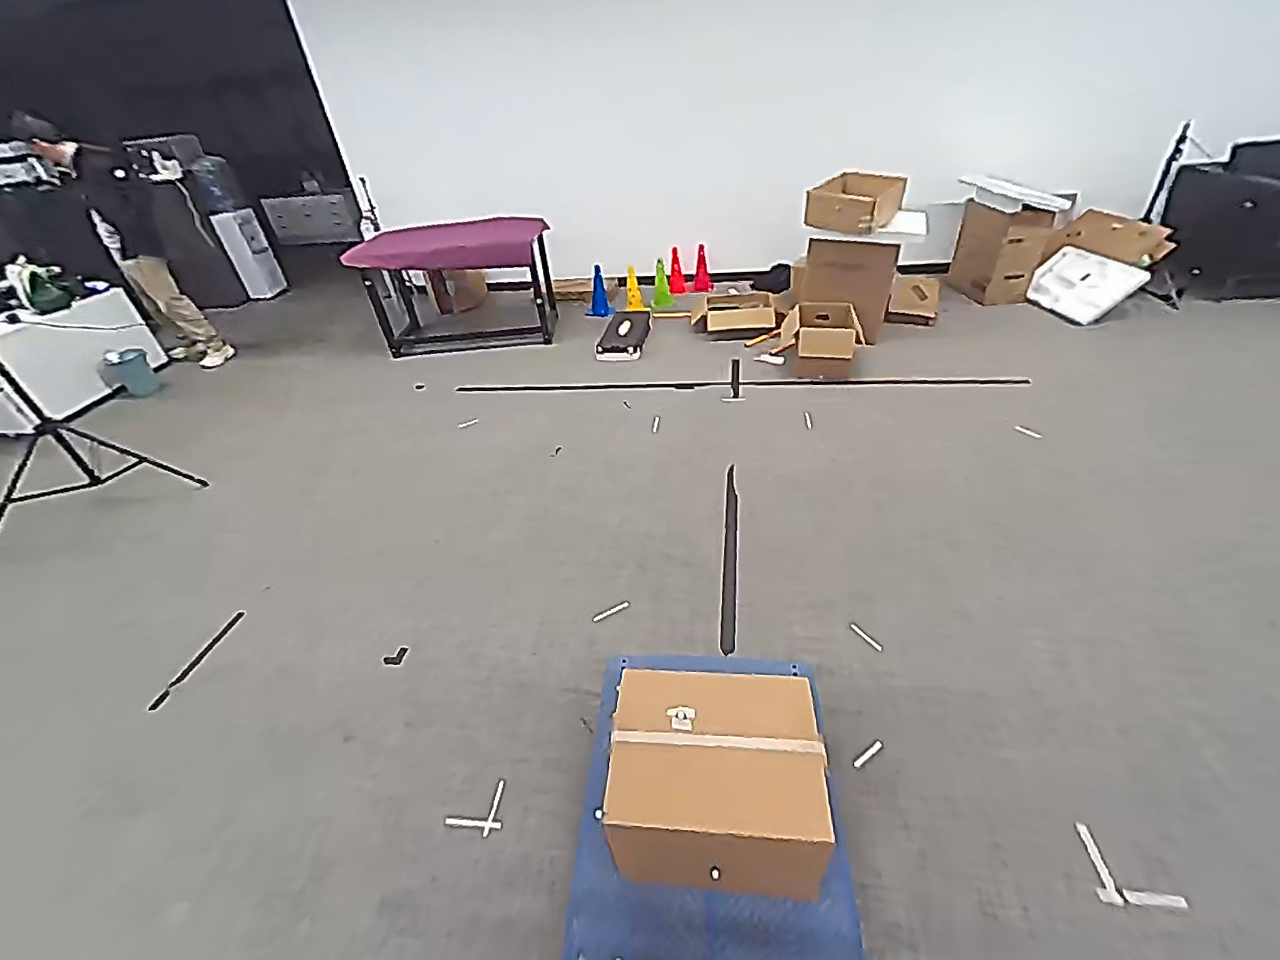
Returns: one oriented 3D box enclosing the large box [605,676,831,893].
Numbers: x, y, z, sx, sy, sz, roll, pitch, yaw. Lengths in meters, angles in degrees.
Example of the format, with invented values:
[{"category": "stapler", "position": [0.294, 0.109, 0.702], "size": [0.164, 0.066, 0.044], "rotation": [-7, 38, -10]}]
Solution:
[{"category": "large box", "position": [0.161, 0.643, 1.156], "size": [0.408, 0.320, 0.320], "rotation": [-1, 36, 8]}]
